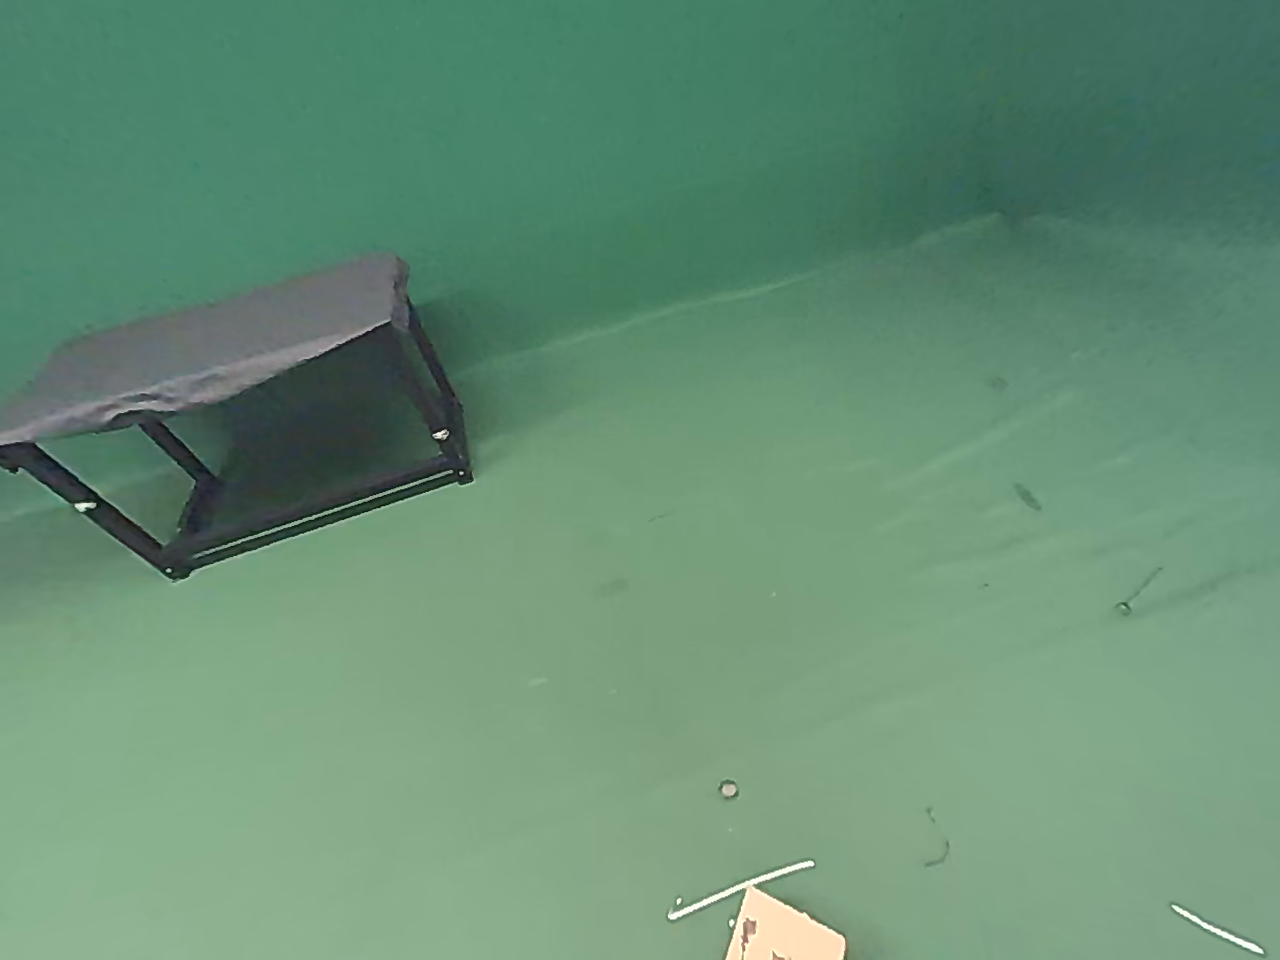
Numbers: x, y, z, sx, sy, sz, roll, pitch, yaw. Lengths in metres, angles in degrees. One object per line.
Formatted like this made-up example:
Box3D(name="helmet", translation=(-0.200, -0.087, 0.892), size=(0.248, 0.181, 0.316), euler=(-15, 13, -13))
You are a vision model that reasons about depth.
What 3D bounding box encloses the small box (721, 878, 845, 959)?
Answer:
Box3D(name="small box", translation=(0.246, 0.853, 0.957), size=(0.179, 0.176, 0.168), euler=(14, 50, 26))
